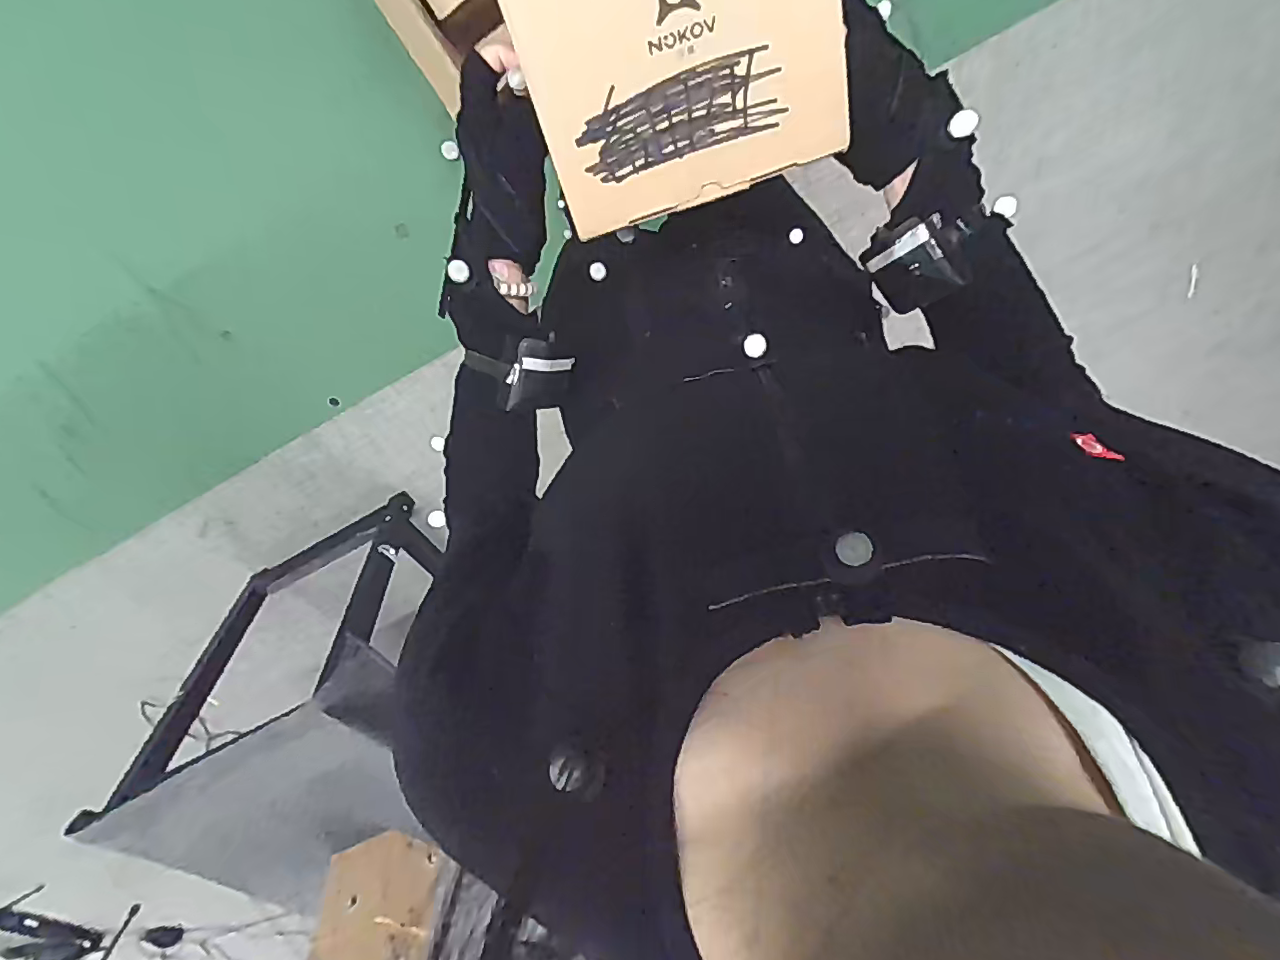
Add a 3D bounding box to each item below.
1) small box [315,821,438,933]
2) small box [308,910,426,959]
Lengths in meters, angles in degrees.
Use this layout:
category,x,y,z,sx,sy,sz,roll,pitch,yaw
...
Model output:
category,x,y,z,sx,sy,sz,roll,pitch,yaw
small box,-0.575,0.898,1.211,0.179,0.176,0.168,-27,124,10
small box,-0.559,1.006,1.087,0.179,0.176,0.168,-30,124,10
